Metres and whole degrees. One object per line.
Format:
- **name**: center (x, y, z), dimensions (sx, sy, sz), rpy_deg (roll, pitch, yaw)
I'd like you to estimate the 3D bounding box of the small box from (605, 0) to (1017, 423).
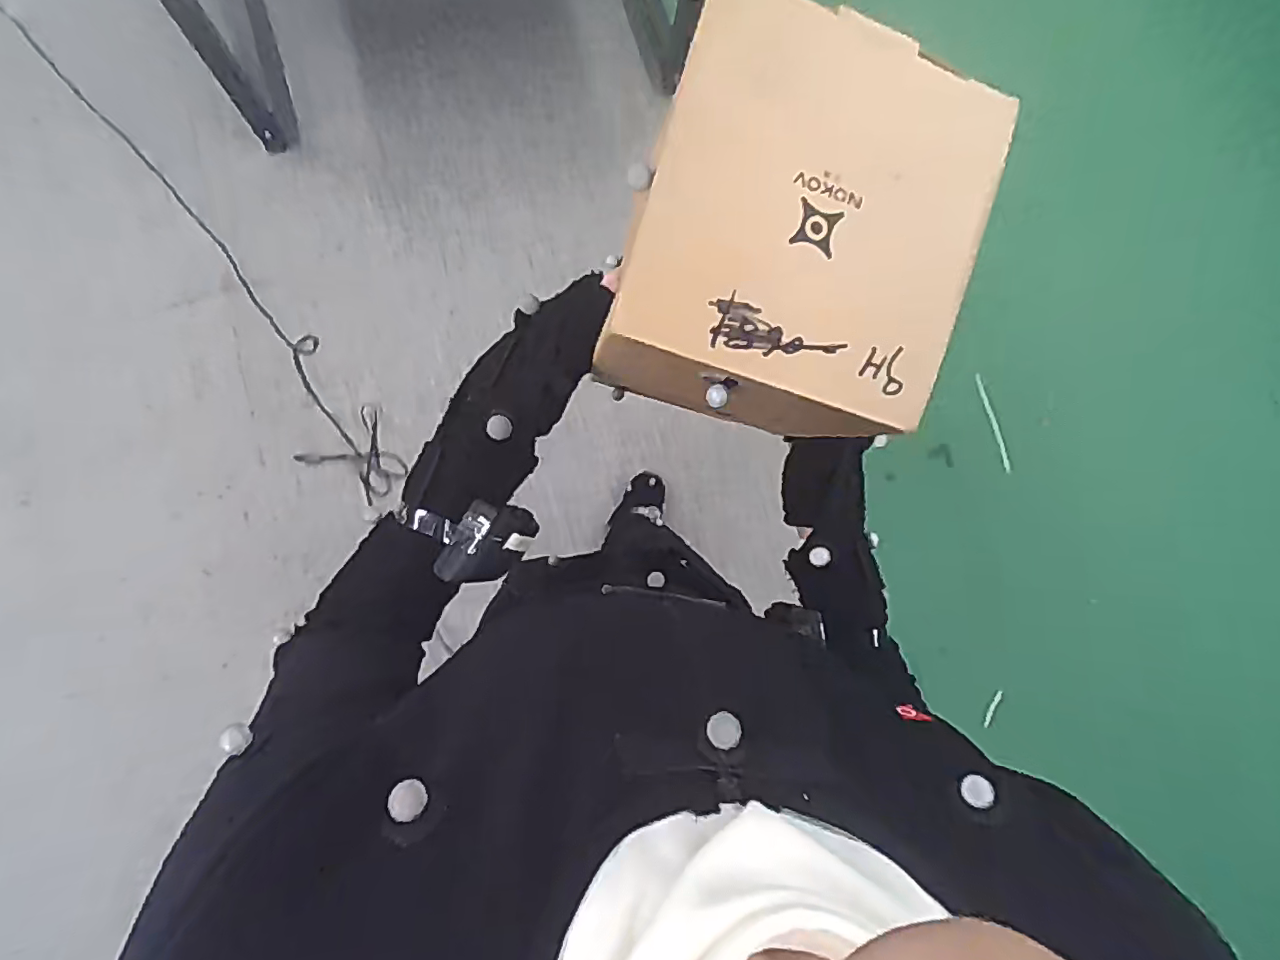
- **small box**: center (0.080, -0.143, 0.342), dimensions (0.168, 0.176, 0.179), rpy_deg (16, 92, -8)
